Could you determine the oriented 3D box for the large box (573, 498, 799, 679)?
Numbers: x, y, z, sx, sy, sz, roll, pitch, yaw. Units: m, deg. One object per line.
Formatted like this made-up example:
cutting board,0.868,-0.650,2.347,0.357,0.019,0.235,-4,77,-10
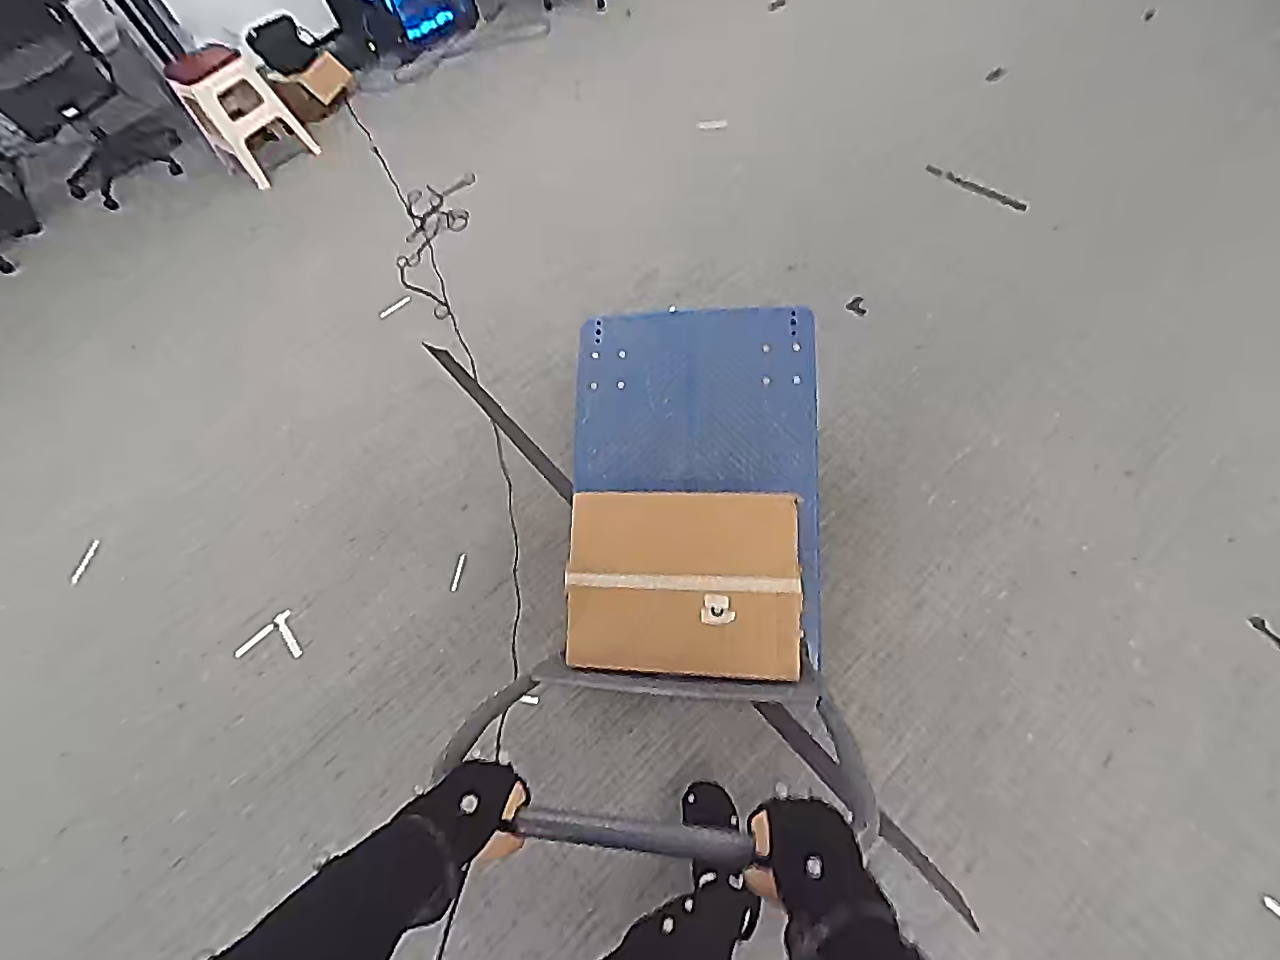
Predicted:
large box,0.097,0.211,1.110,0.408,0.320,0.320,0,82,9
